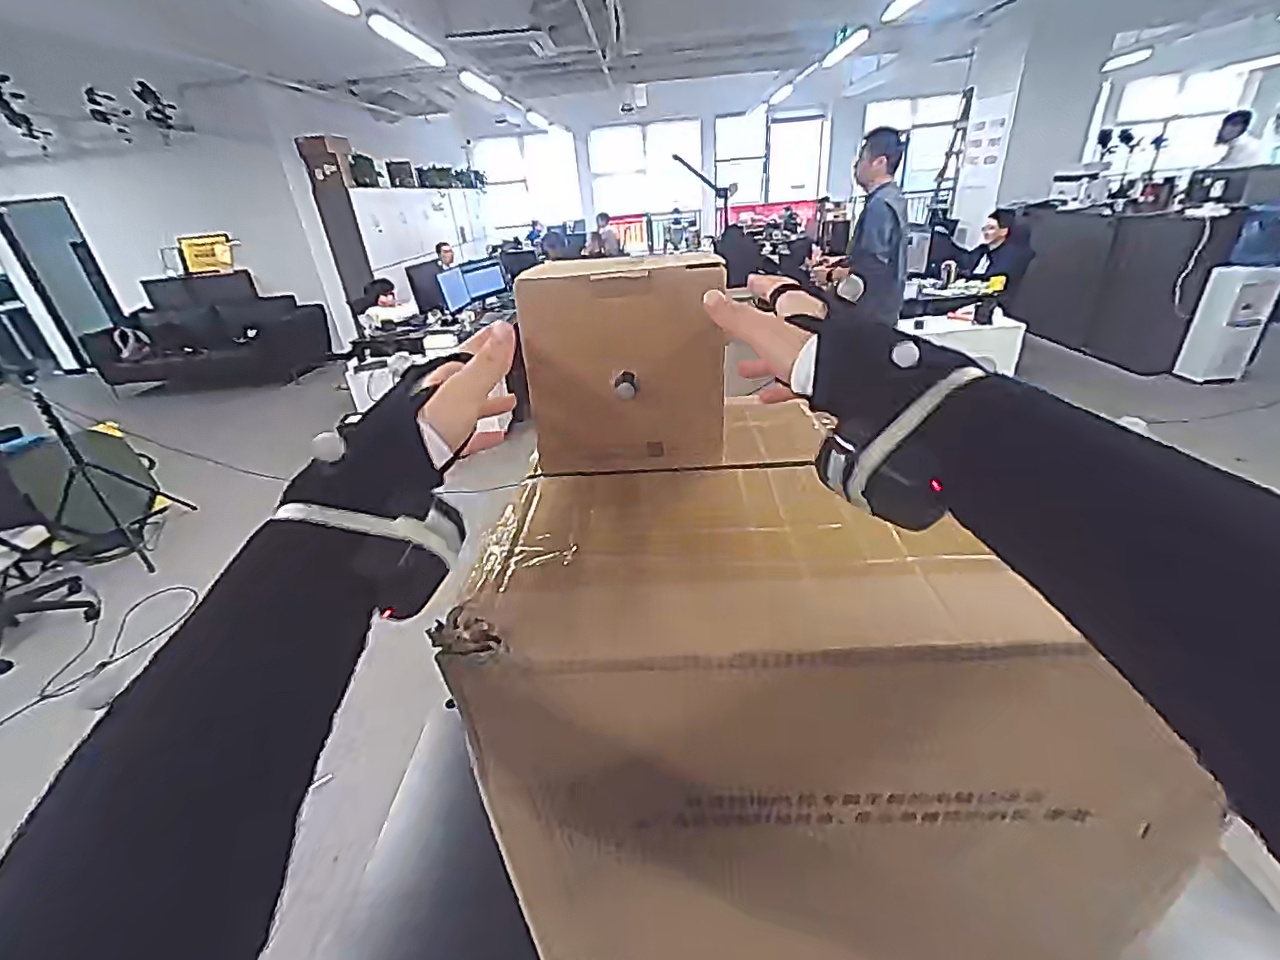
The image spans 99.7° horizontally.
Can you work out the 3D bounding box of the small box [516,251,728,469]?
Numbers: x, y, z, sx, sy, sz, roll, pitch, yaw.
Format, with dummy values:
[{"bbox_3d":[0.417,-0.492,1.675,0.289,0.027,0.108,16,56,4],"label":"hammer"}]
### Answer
[{"bbox_3d":[-0.006,-0.116,0.517,0.168,0.176,0.179,-2,26,3],"label":"small box"}]
